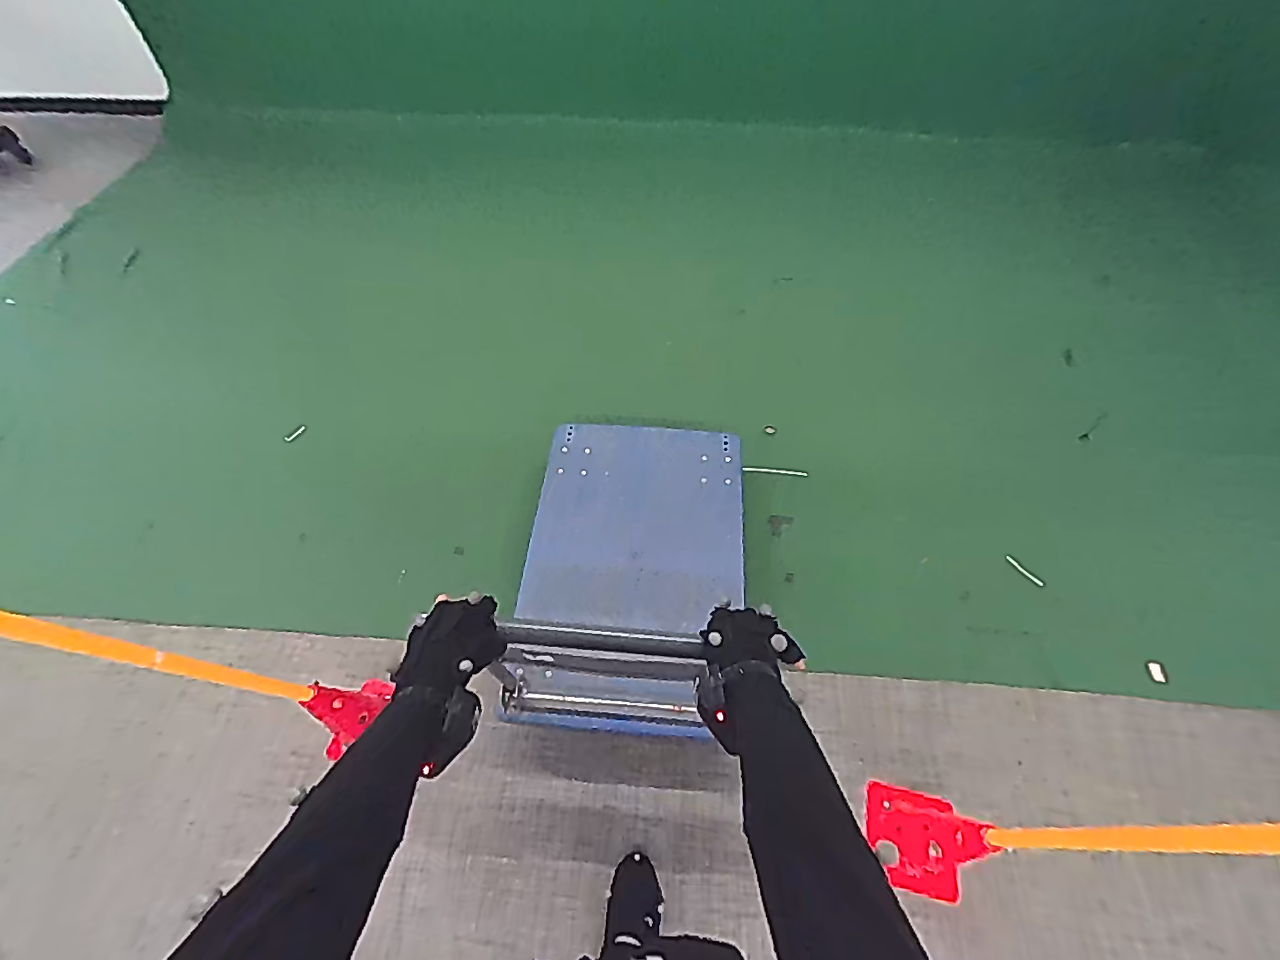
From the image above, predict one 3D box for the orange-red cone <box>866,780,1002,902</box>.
[{"bbox_3d":[0.610,0.712,1.075,0.198,0.360,0.199,12,58,10],"label":"orange-red cone"}]
